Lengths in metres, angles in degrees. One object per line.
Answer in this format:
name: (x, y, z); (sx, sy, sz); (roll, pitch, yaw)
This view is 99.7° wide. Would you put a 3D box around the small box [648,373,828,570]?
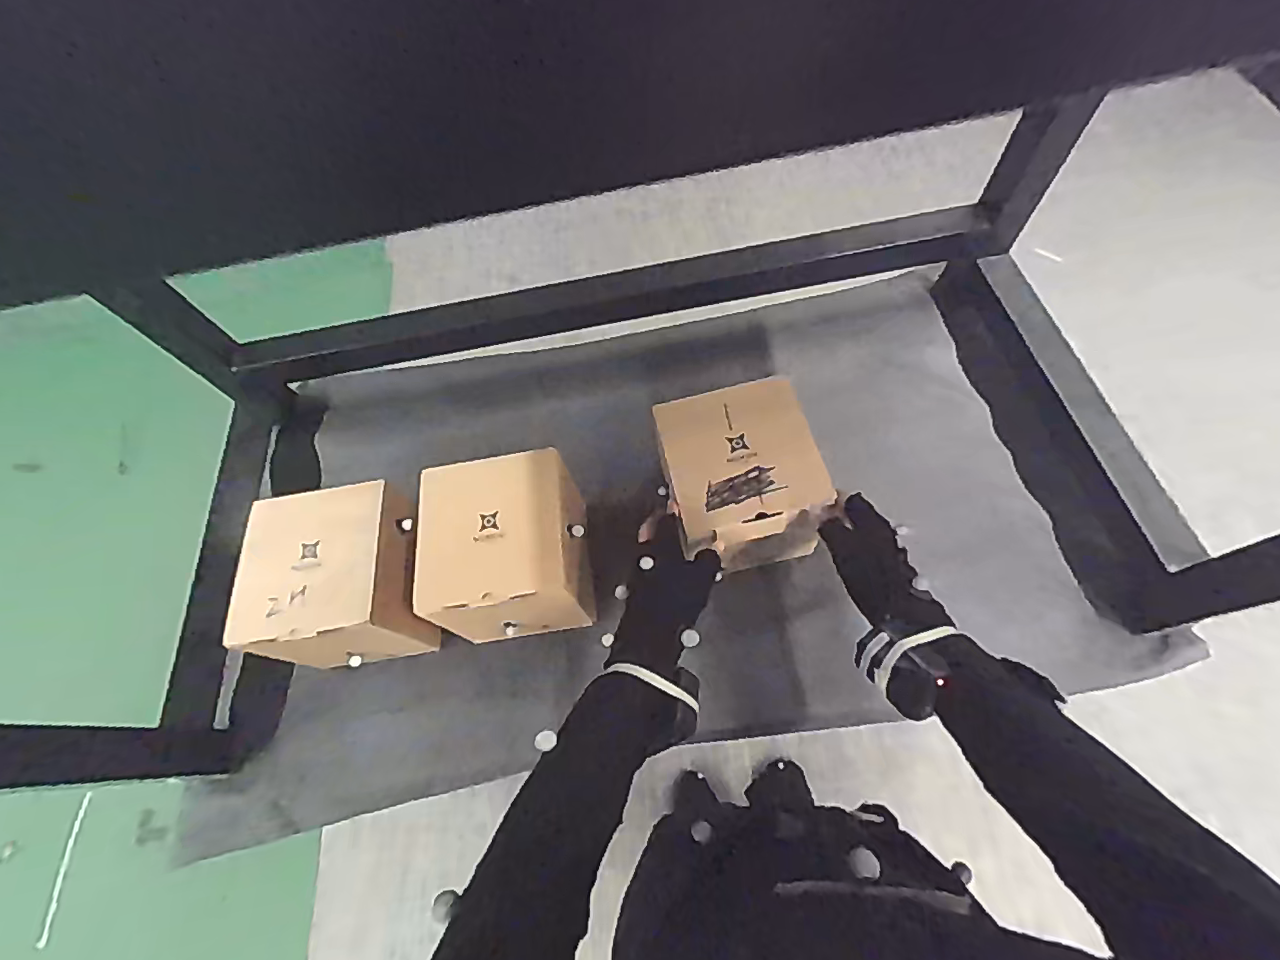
small box: (0.115, 0.001, 0.676); (0.168, 0.176, 0.179); (-14, 62, 1)
